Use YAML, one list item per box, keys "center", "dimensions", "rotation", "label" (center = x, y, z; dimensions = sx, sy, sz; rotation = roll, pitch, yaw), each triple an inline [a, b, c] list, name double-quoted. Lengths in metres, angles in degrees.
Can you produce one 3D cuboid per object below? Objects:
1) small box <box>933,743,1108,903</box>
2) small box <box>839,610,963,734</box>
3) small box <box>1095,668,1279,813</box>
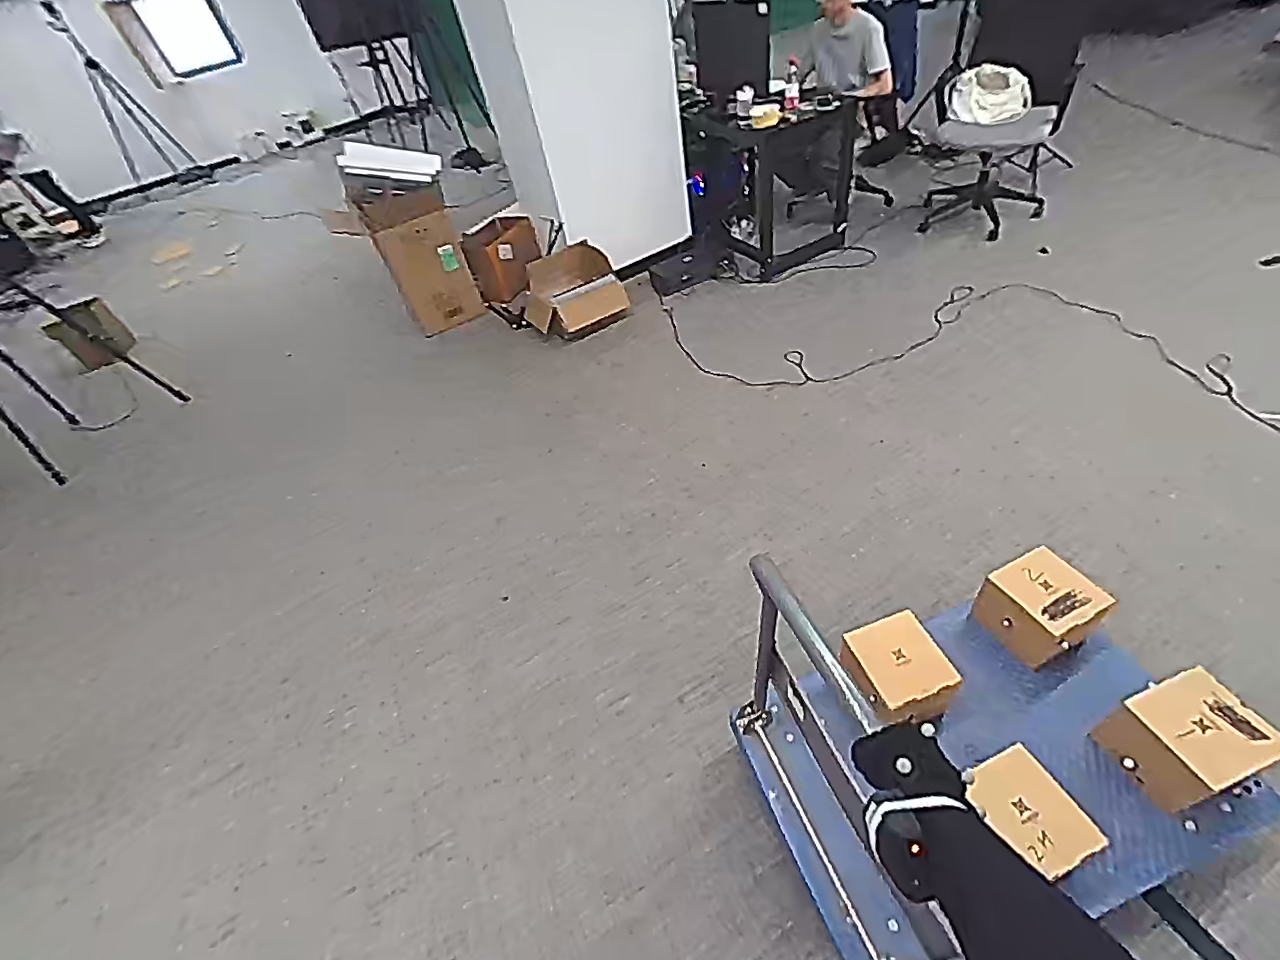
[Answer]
- center: [0.666, 0.619, 0.975]
  dimensions: [0.168, 0.176, 0.179]
  rotation: [-23, 45, -8]
  label: "small box"
- center: [0.560, 0.425, 1.191]
  dimensions: [0.168, 0.176, 0.179]
  rotation: [-19, 46, -5]
  label: "small box"
- center: [1.018, 0.489, 1.013]
  dimensions: [0.179, 0.176, 0.168]
  rotation: [-21, 45, -5]
  label: "small box"
